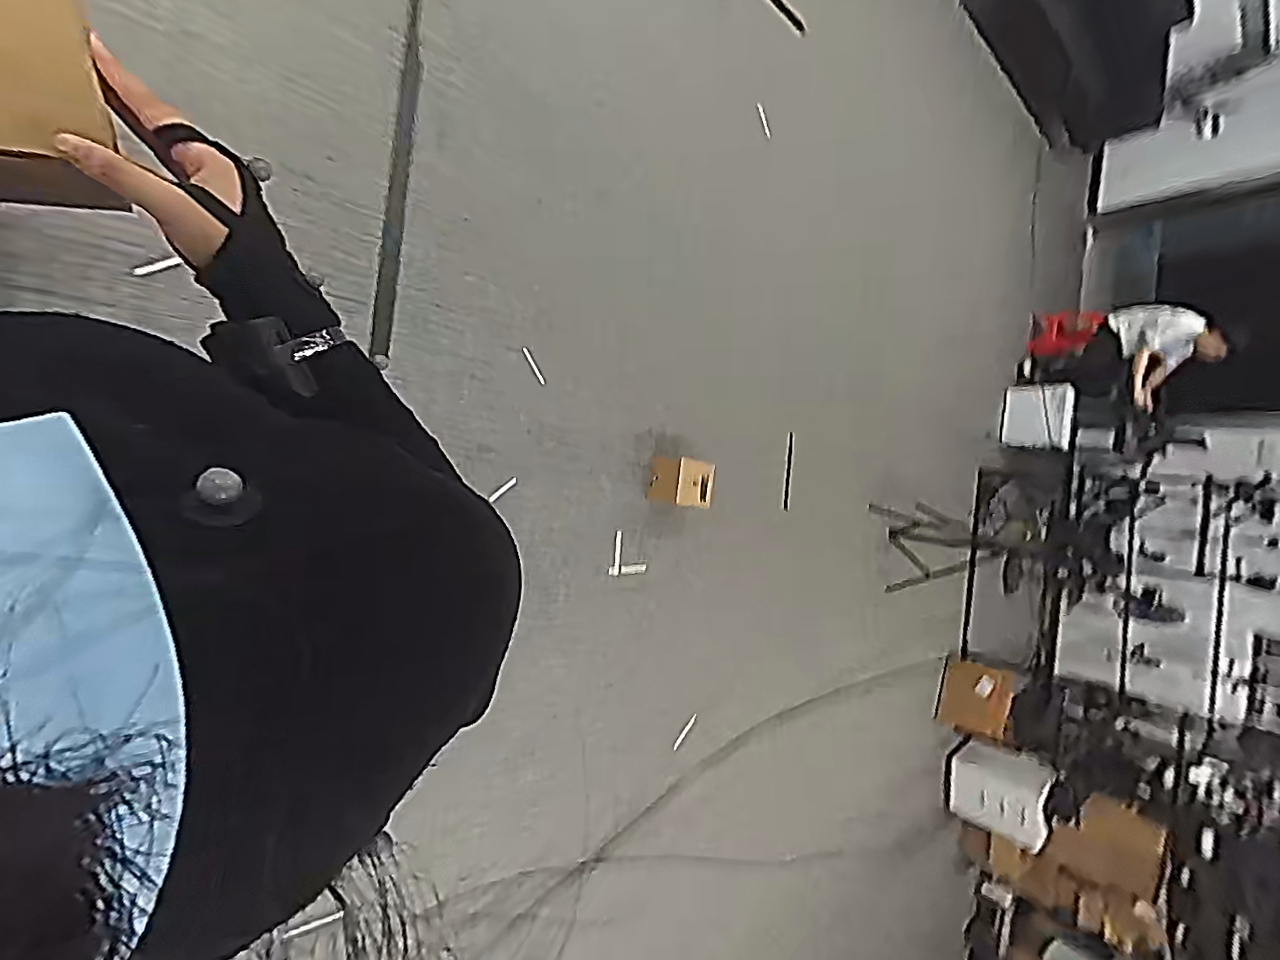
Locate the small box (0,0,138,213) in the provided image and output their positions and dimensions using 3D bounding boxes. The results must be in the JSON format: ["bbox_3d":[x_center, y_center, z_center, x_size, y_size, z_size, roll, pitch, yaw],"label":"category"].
[{"bbox_3d":[-0.427,-0.277,0.320,0.168,0.176,0.179,-13,110,-38],"label":"small box"}]
